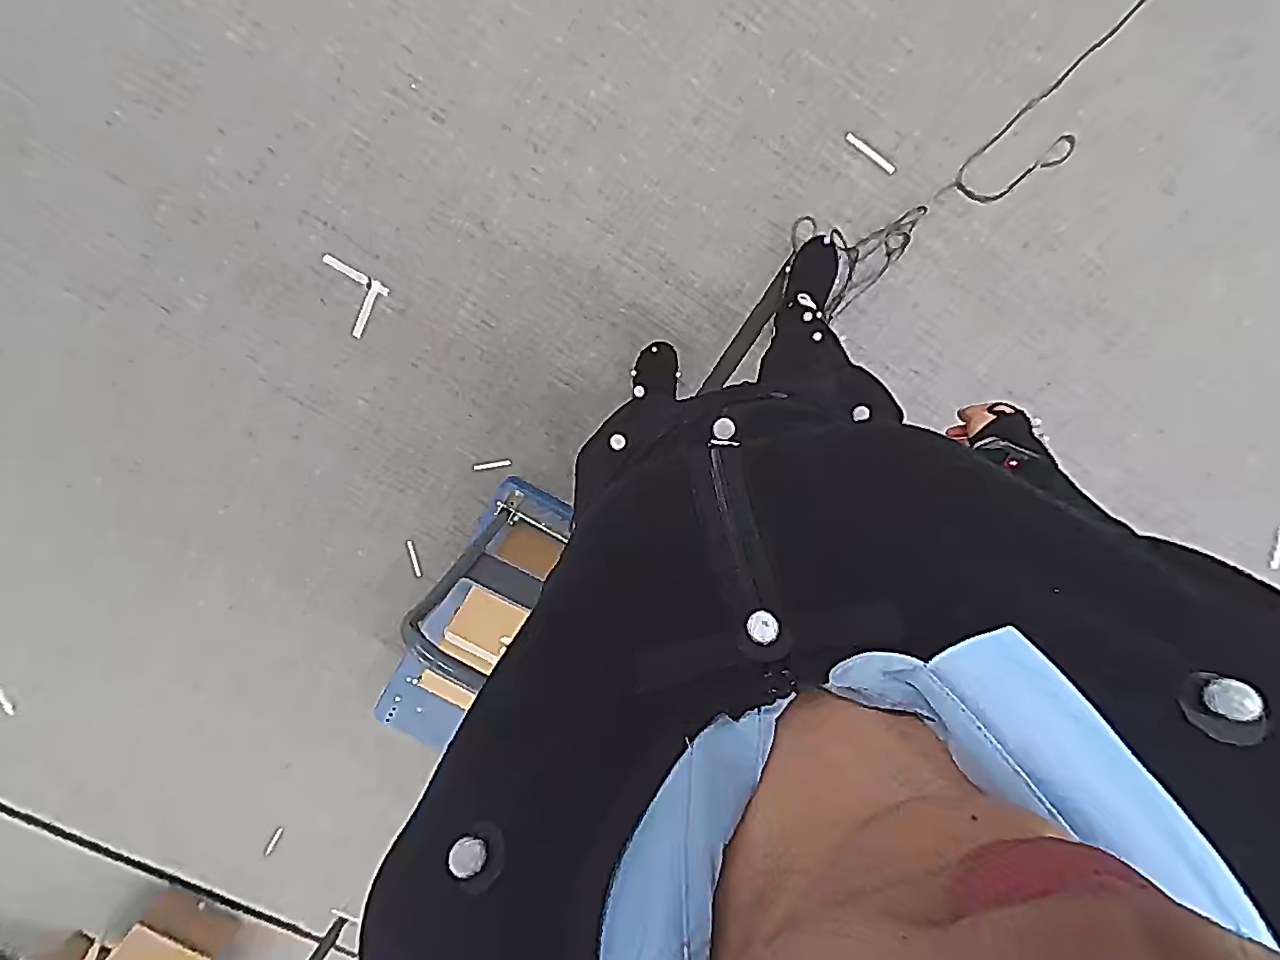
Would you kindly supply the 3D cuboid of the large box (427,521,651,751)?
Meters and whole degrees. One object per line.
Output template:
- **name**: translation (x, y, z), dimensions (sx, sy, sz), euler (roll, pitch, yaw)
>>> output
- **large box**: translation (-0.221, 0.363, 1.321), dimensions (0.408, 0.320, 0.320), euler (30, 105, -7)
